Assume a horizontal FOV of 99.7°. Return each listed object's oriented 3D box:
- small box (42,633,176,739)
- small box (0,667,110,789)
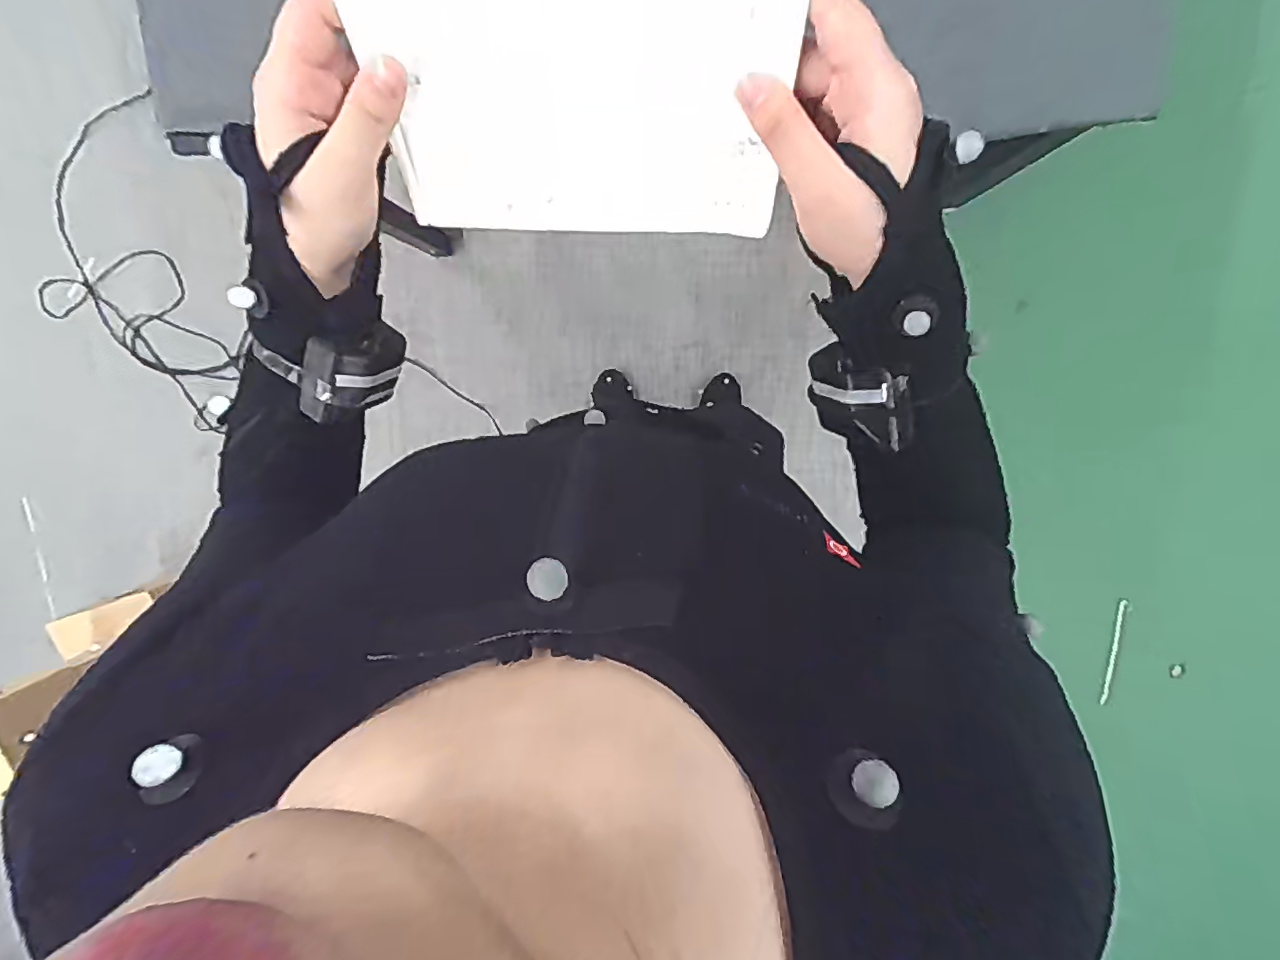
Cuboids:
[{"bbox_3d":[-1.270,0.493,1.284,0.168,0.176,0.179,-17,99,6],"label":"small box"},{"bbox_3d":[-1.282,0.512,1.122,0.168,0.176,0.179,-17,100,5],"label":"small box"}]
